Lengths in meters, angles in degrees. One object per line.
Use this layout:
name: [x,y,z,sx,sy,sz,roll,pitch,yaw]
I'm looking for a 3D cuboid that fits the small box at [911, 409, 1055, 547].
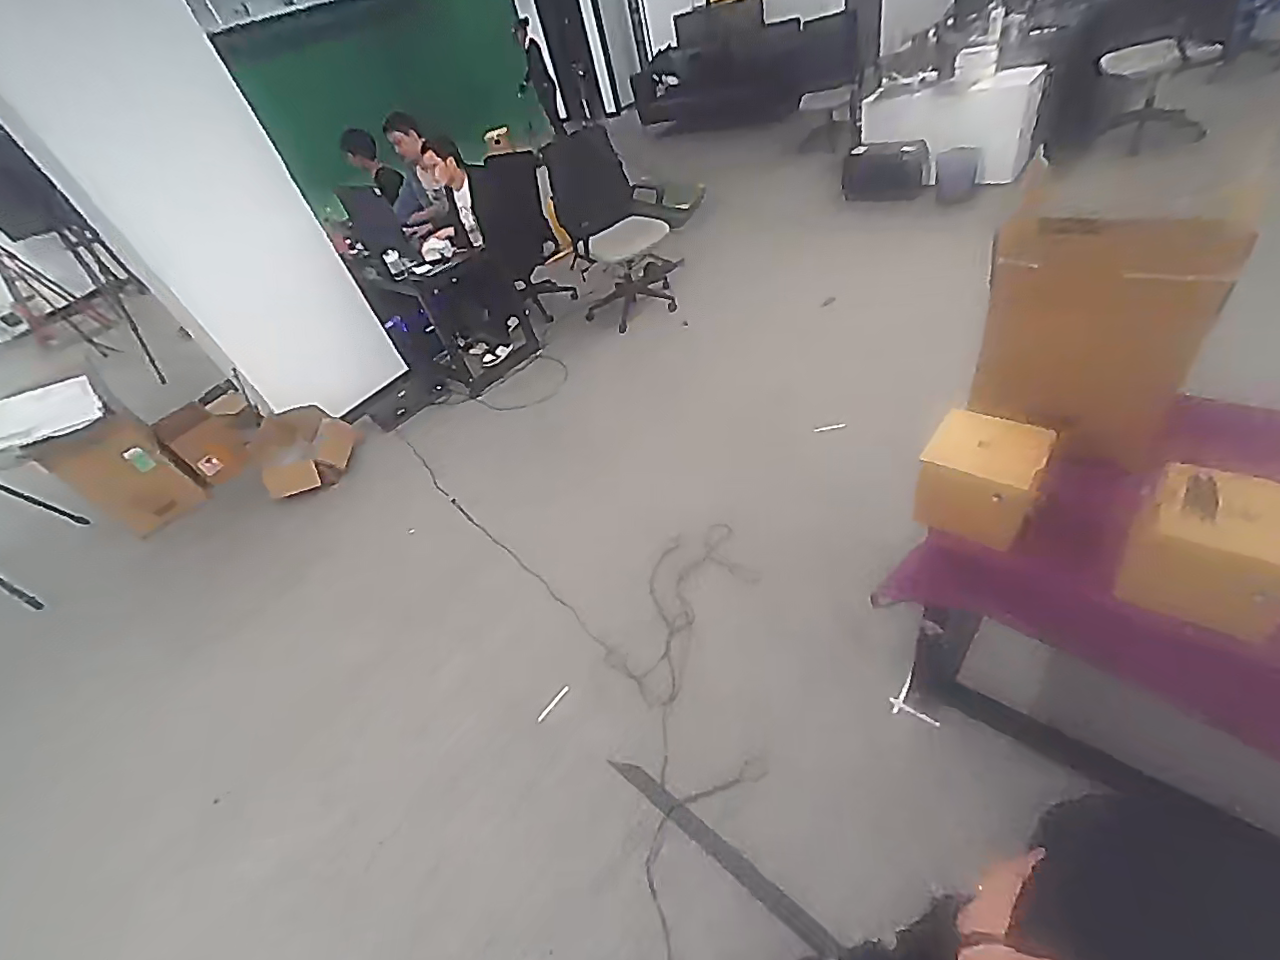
small box: [0.630,-0.003,1.012,0.179,0.176,0.168,24,56,36]
